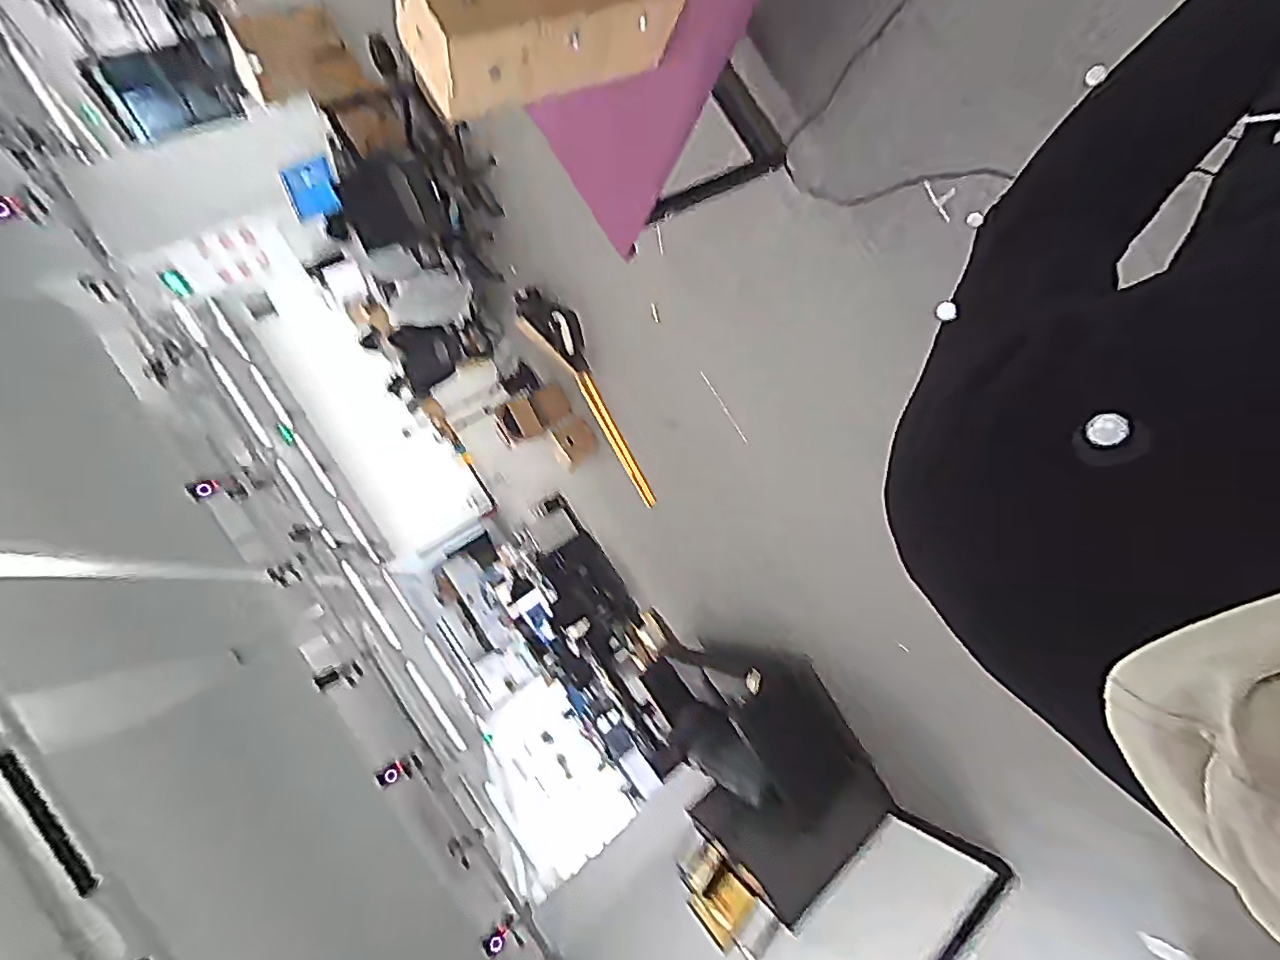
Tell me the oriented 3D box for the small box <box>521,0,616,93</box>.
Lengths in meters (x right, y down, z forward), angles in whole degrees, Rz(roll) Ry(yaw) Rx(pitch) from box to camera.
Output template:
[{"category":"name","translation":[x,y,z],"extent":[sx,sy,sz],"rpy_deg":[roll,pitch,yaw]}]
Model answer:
[{"category":"small box","translation":[-0.166,-0.876,1.003],"extent":[0.168,0.176,0.179],"rpy_deg":[60,159,-4]}]

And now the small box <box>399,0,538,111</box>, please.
[{"category":"small box","translation":[-0.298,-0.801,0.943],"extent":[0.179,0.176,0.168],"rpy_deg":[60,158,-4]}]
